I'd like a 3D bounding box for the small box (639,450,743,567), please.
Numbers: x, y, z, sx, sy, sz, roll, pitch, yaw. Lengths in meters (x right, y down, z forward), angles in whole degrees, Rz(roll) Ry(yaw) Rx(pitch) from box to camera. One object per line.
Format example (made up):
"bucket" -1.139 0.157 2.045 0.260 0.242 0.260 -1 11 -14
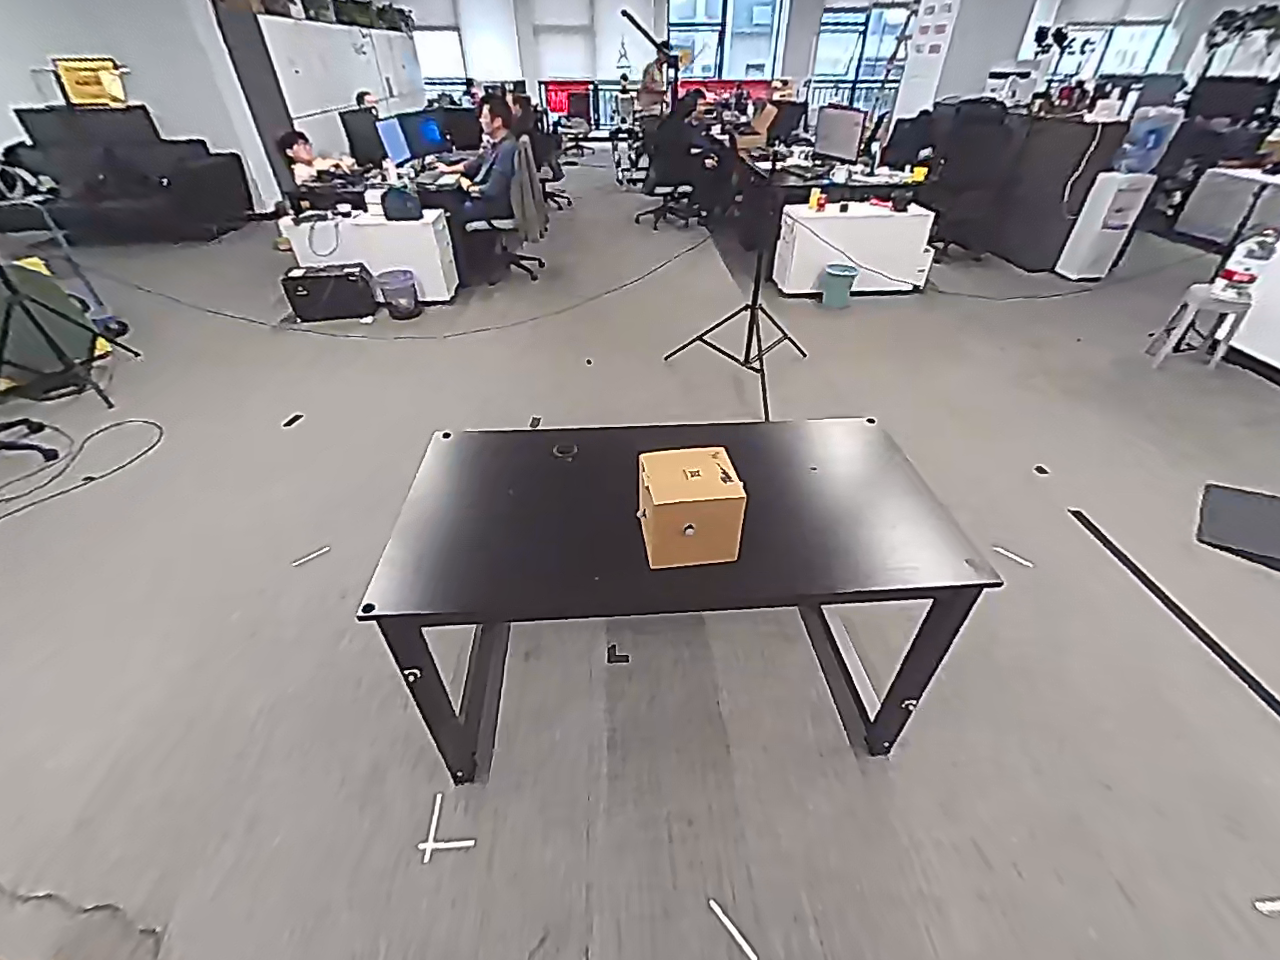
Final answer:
"small box" 0.097 0.059 1.088 0.179 0.176 0.168 -6 38 -6
